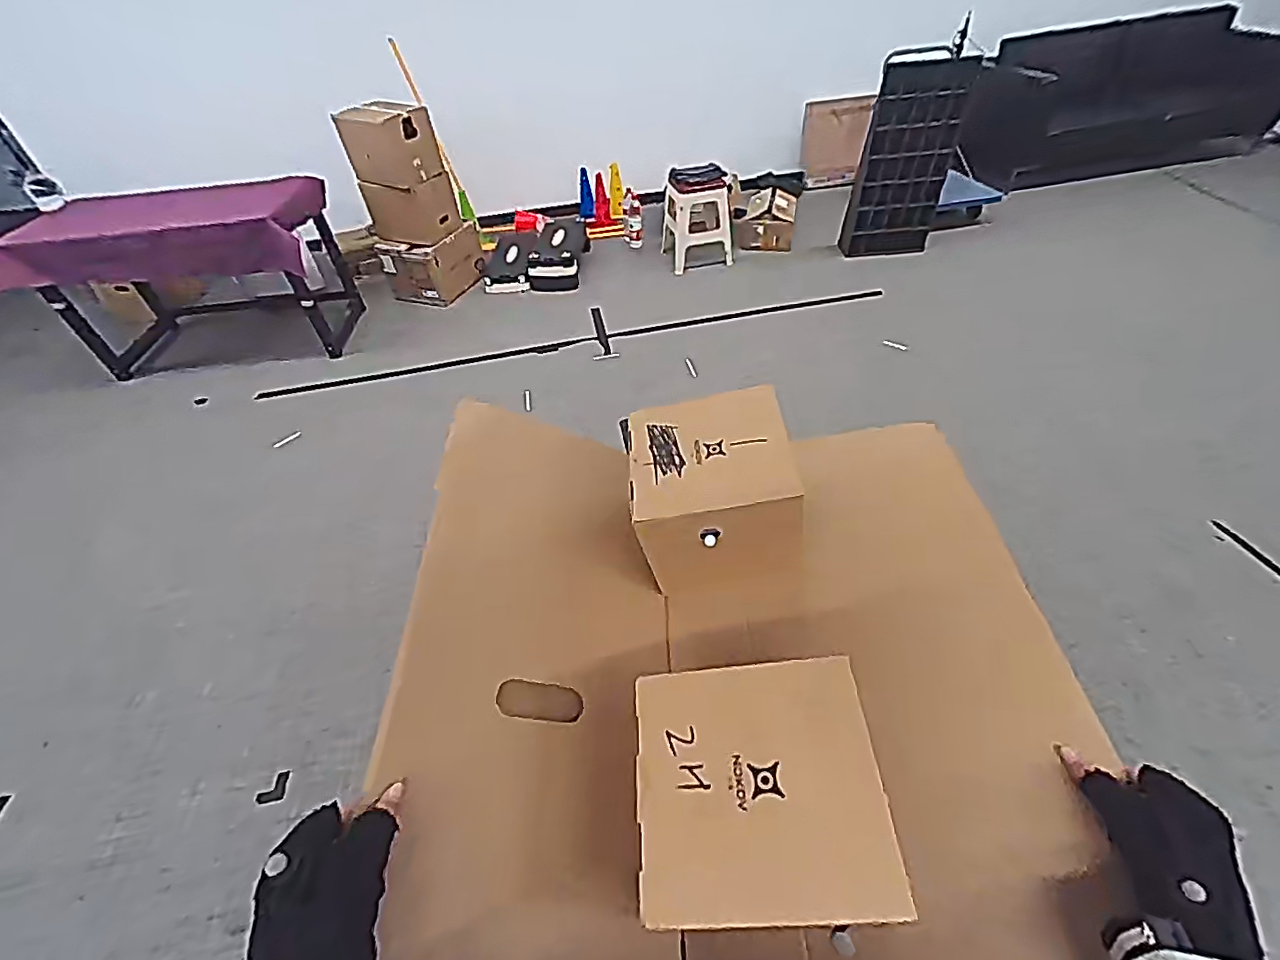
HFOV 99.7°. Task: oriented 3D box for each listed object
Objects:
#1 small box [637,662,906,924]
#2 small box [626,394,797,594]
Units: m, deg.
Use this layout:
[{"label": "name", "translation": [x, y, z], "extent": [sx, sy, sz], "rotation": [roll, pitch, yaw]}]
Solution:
[{"label": "small box", "translation": [0.100, 0.270, 0.462], "extent": [0.179, 0.176, 0.168], "rotation": [-10, 50, 10]}, {"label": "small box", "translation": [0.088, 0.025, 0.664], "extent": [0.179, 0.176, 0.168], "rotation": [-10, 50, 8]}]
